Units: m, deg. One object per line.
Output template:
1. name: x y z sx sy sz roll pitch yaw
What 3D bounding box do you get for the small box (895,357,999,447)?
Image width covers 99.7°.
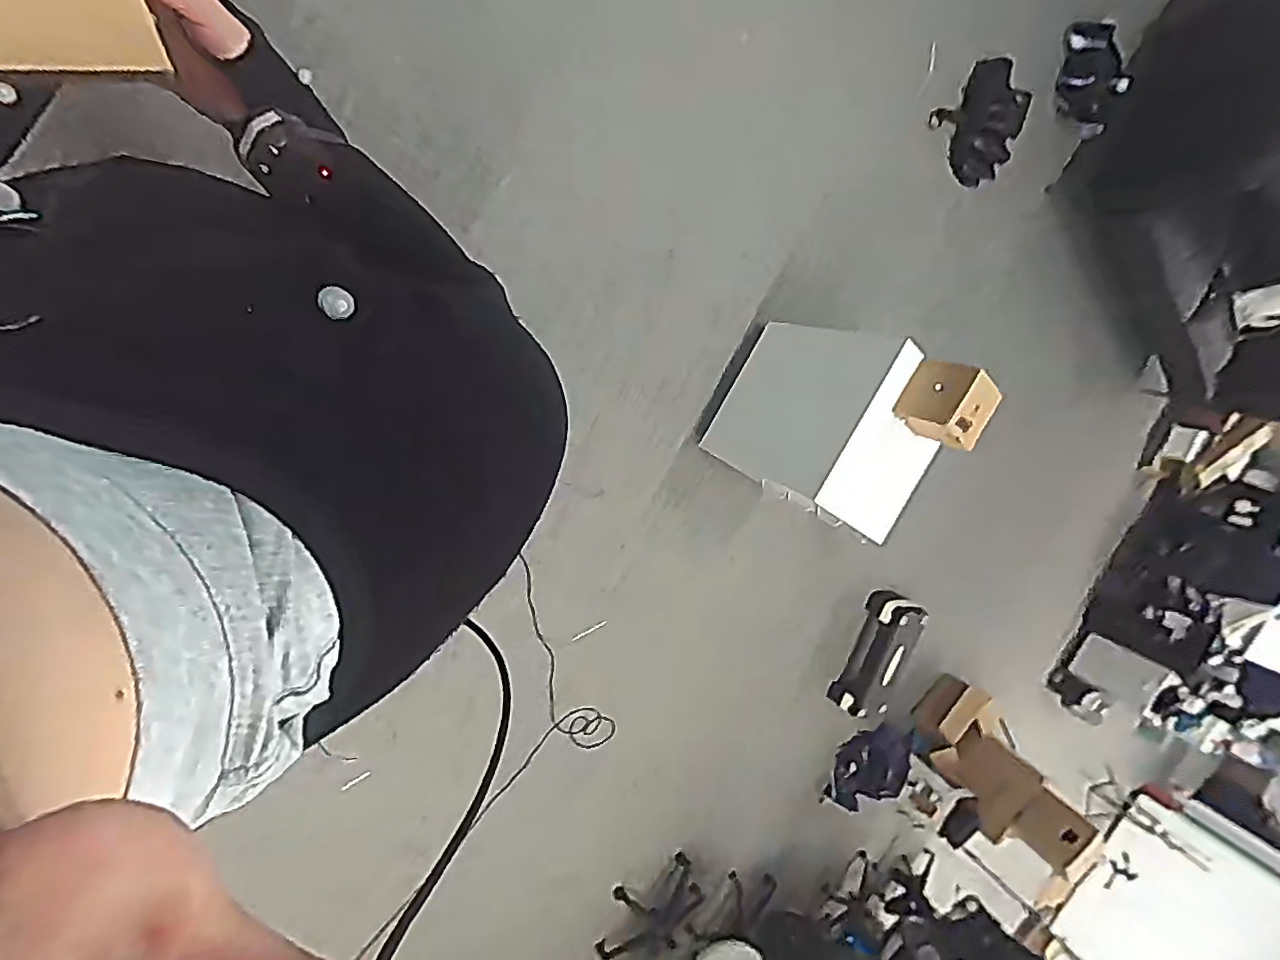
1. small box: 0.837 -0.219 1.492 0.168 0.176 0.179 26 94 -36

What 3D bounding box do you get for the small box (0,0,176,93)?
1. small box: -0.413 -0.329 0.315 0.179 0.176 0.168 -24 132 -28
